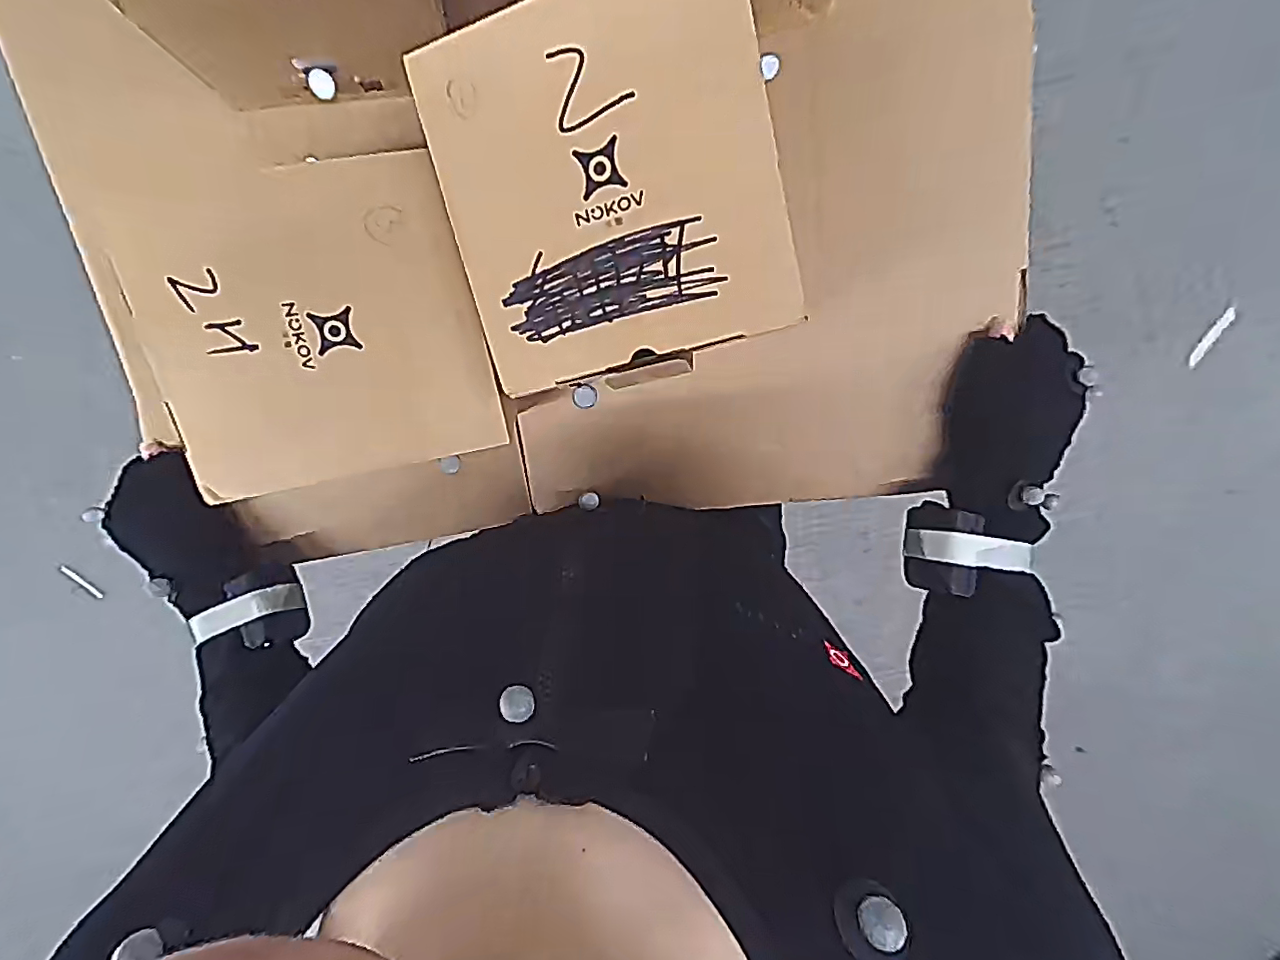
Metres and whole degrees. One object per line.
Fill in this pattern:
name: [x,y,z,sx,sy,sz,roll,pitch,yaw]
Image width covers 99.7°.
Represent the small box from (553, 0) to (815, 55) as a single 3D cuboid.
small box: [0.016,-0.367,0.284,0.168,0.176,0.179,-5,103,13]
